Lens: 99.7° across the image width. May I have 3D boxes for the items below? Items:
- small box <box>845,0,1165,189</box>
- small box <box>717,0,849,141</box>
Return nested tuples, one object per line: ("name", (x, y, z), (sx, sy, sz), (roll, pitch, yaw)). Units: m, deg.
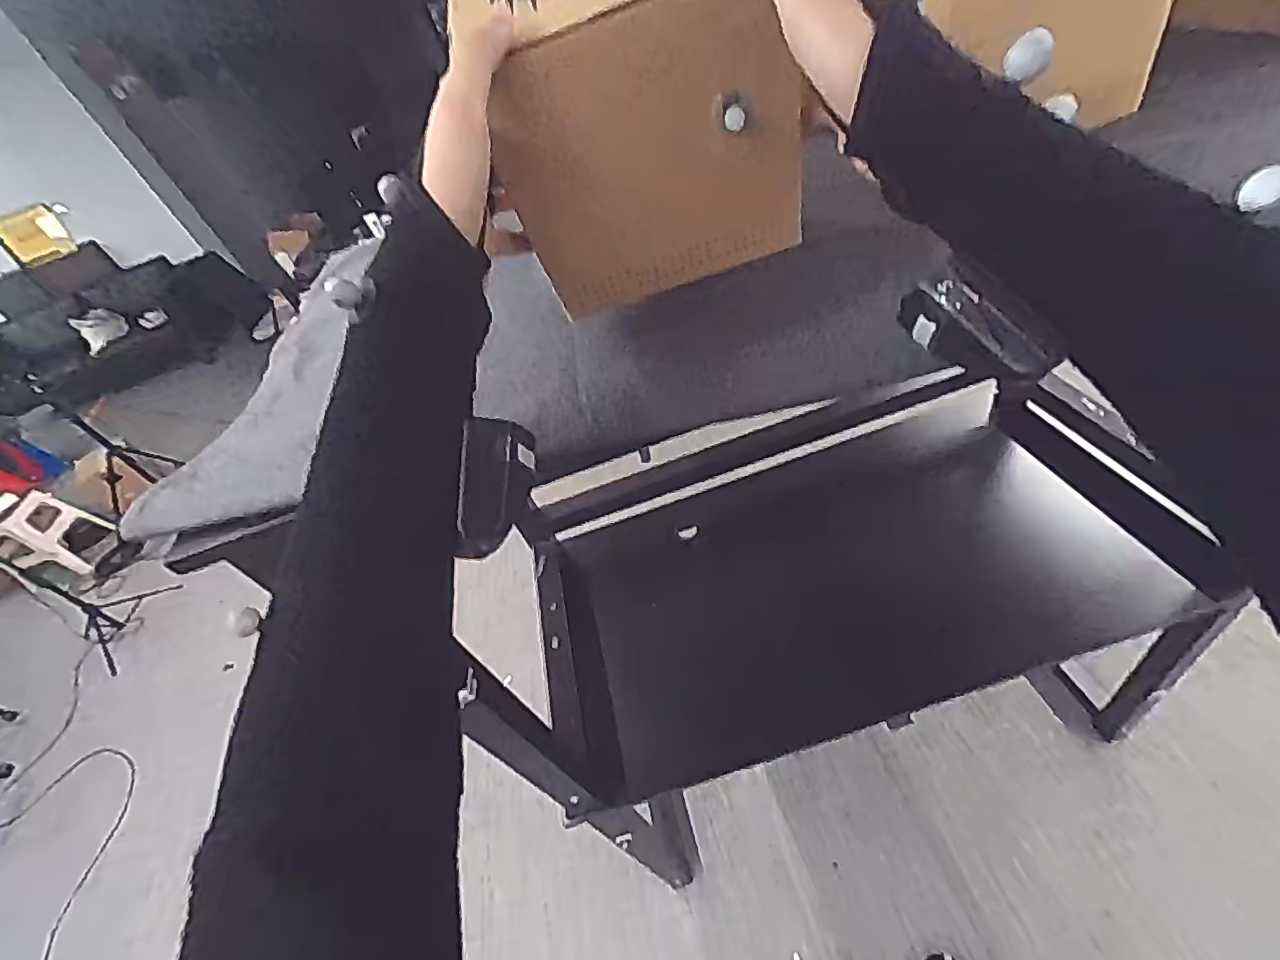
("small box", (0.283, -0.372, 0.444), (0.179, 0.176, 0.168), (-20, 43, 2))
("small box", (0.195, -0.522, 0.628), (0.168, 0.176, 0.179), (-20, 44, 2))
